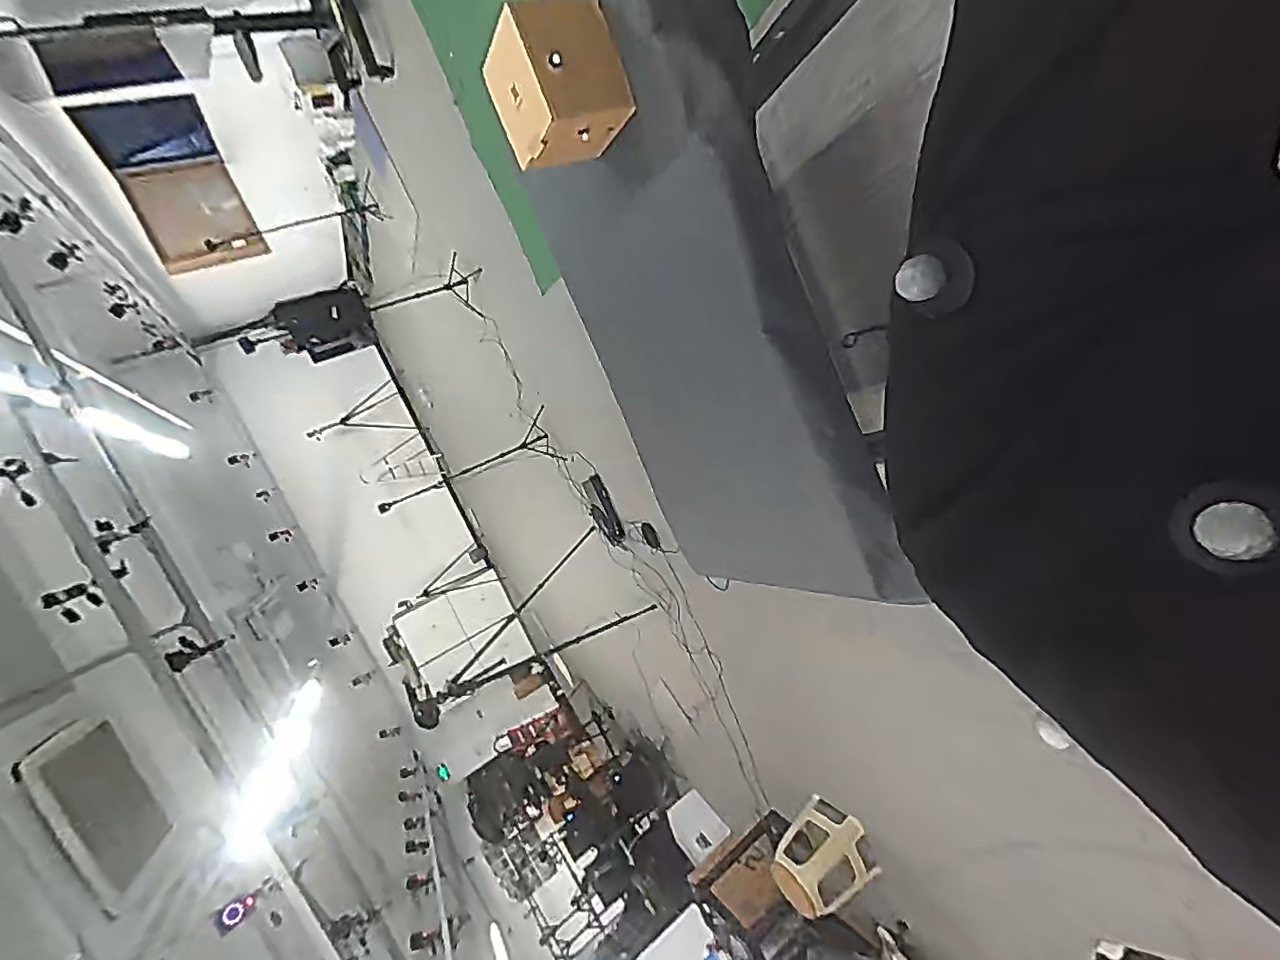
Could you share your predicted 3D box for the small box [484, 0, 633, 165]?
[{"bbox_3d":[-0.137,-0.680,0.923,0.168,0.176,0.179,1,116,61],"label":"small box"}]
